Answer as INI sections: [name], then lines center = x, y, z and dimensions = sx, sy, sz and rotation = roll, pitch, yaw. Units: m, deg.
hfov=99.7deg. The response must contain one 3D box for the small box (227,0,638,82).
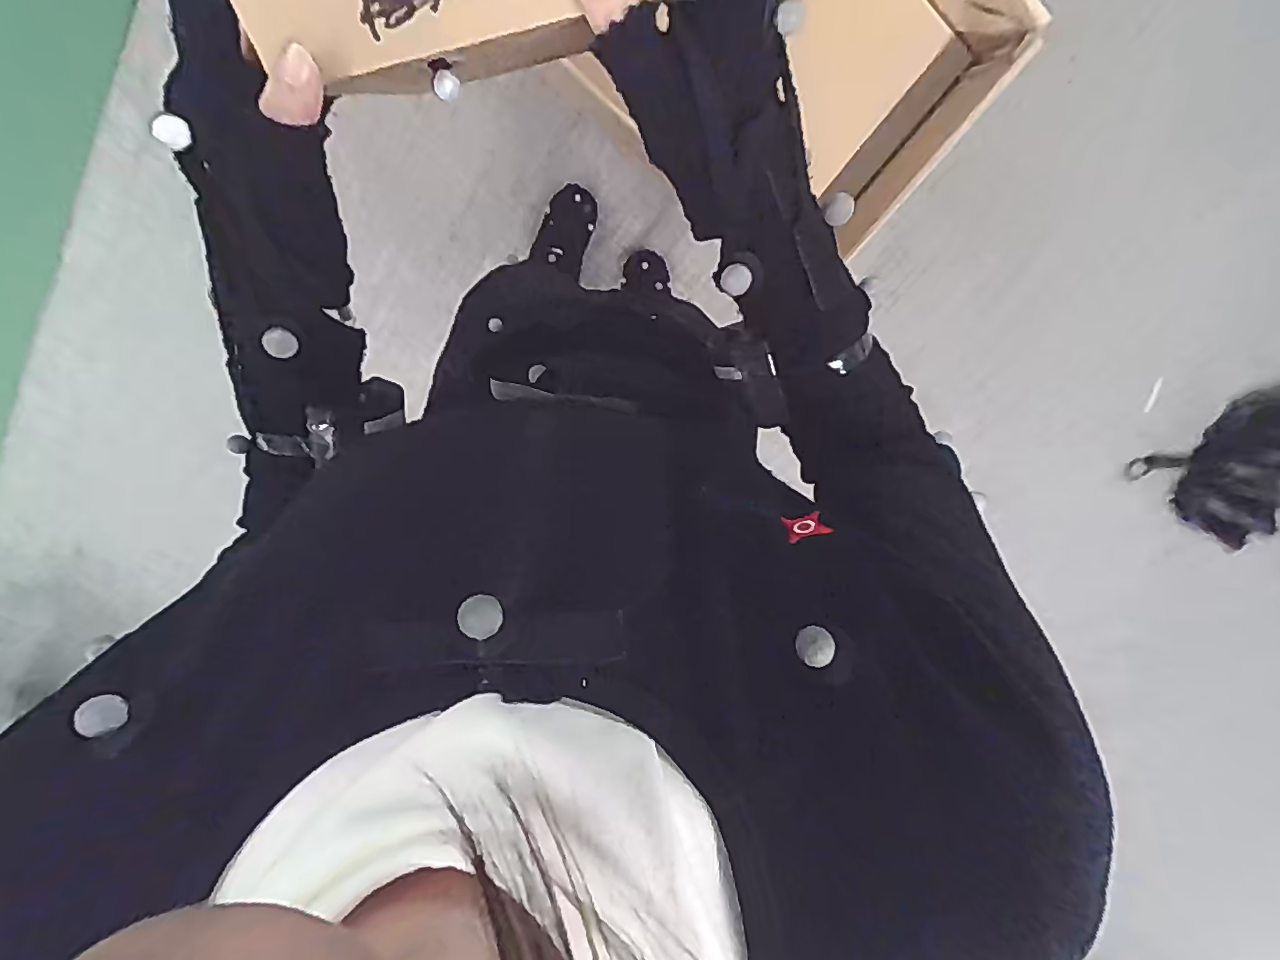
[small box]
center = -0.096, -0.297, 0.234
dimensions = 0.168, 0.176, 0.179
rotation = -11, 126, 6
